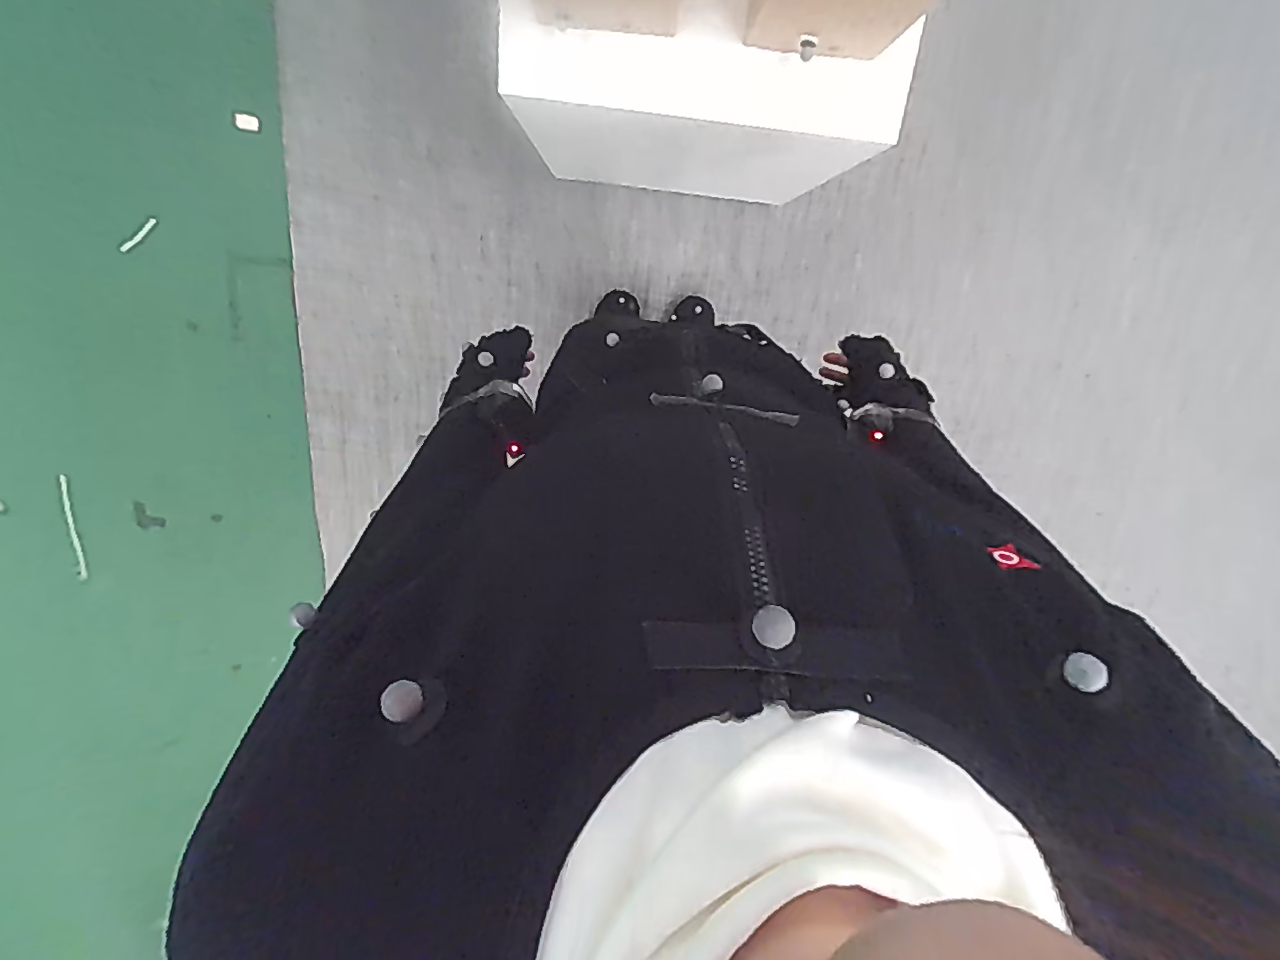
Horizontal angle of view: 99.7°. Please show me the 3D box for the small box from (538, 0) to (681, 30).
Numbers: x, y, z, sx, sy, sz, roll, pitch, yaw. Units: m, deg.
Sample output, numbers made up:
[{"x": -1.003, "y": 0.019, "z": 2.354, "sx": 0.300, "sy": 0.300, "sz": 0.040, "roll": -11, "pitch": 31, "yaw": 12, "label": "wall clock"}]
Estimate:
[{"x": -0.032, "y": -0.593, "z": 0.541, "sx": 0.168, "sy": 0.176, "sz": 0.179, "roll": 3, "pitch": 109, "yaw": -2, "label": "small box"}]

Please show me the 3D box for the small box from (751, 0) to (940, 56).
[{"x": 0.213, "y": -0.566, "z": 0.540, "sx": 0.168, "sy": 0.176, "sz": 0.179, "roll": 3, "pitch": 111, "yaw": 0, "label": "small box"}]
